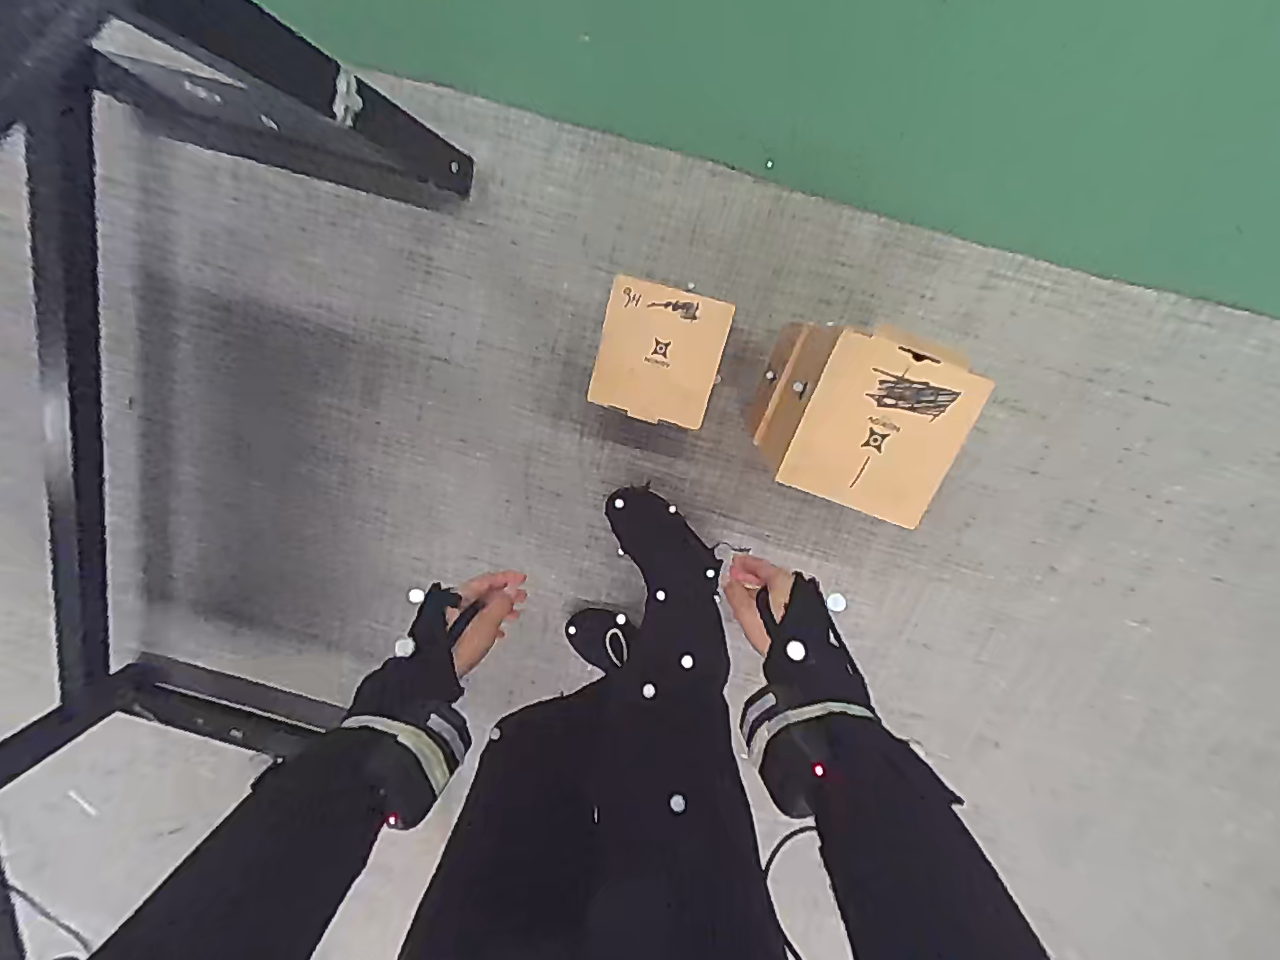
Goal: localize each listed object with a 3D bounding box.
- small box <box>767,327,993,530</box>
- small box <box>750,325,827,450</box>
[{"bbox_3d":[0.262,-0.071,0.645,0.168,0.176,0.179,20,108,1],"label":"small box"},{"bbox_3d":[0.272,-0.120,0.802,0.168,0.176,0.179,21,108,0],"label":"small box"}]
